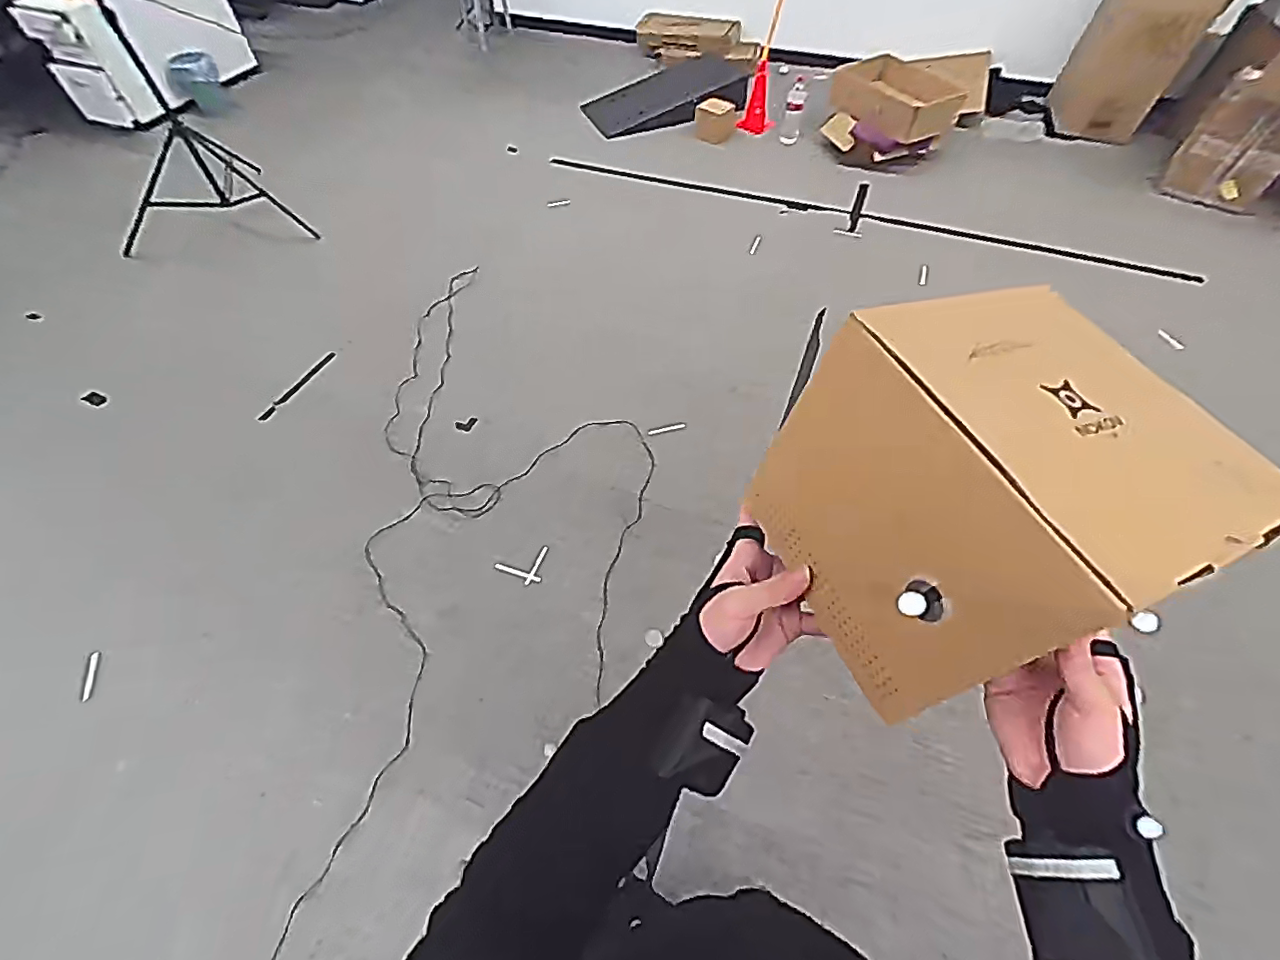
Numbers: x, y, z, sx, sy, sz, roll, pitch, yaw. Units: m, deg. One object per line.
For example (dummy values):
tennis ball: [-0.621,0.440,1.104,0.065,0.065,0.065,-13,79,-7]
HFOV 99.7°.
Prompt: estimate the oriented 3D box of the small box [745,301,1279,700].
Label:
small box: [0.195,0.017,0.338,0.168,0.176,0.179,-14,57,-23]
